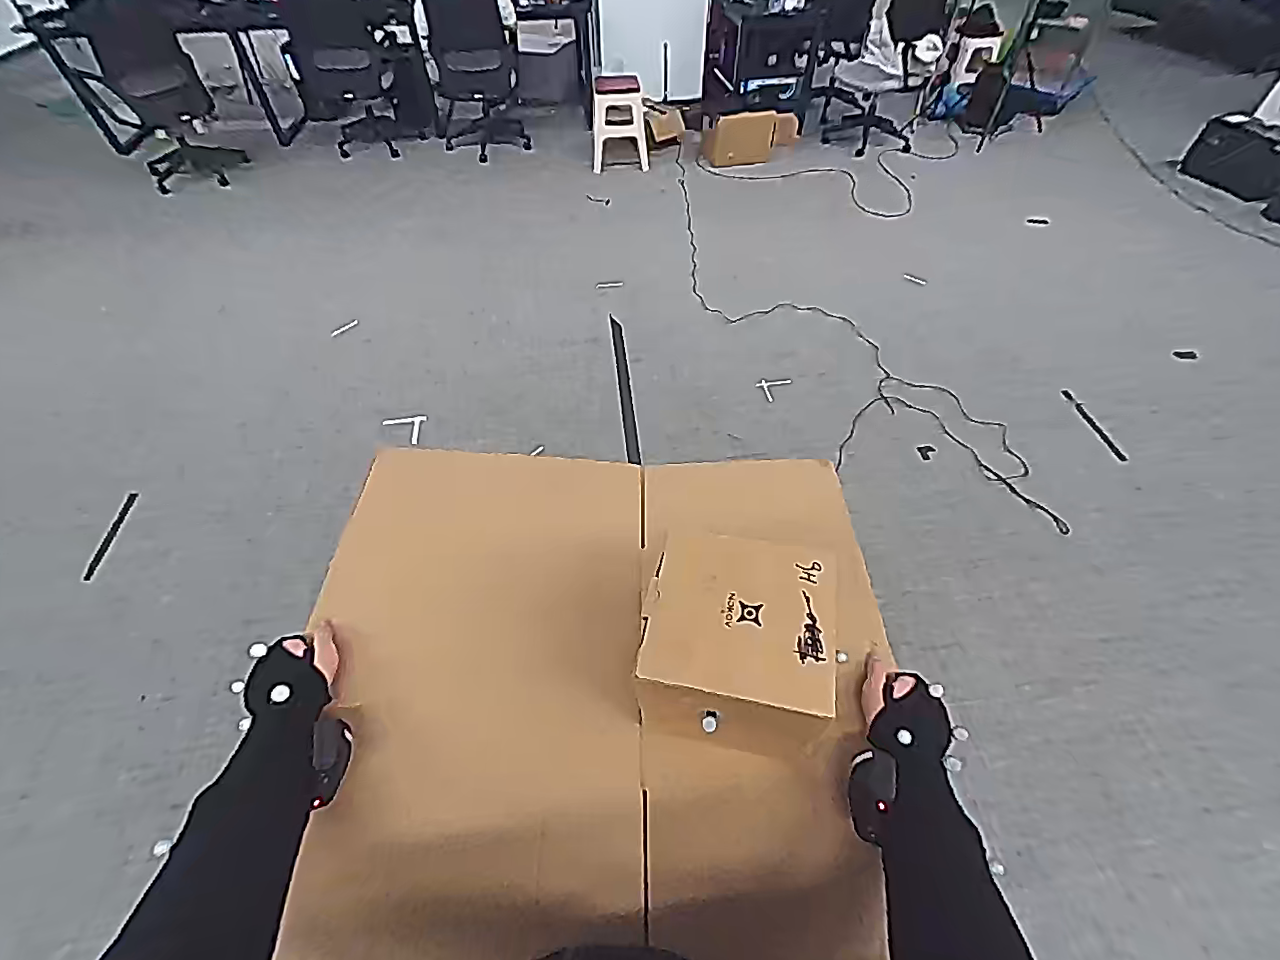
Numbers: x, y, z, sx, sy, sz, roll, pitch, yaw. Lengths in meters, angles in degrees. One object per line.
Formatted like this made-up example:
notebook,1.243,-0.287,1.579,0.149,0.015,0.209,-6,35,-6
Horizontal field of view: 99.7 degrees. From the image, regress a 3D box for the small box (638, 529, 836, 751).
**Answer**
small box,0.108,0.175,0.586,0.179,0.176,0.168,7,52,12
